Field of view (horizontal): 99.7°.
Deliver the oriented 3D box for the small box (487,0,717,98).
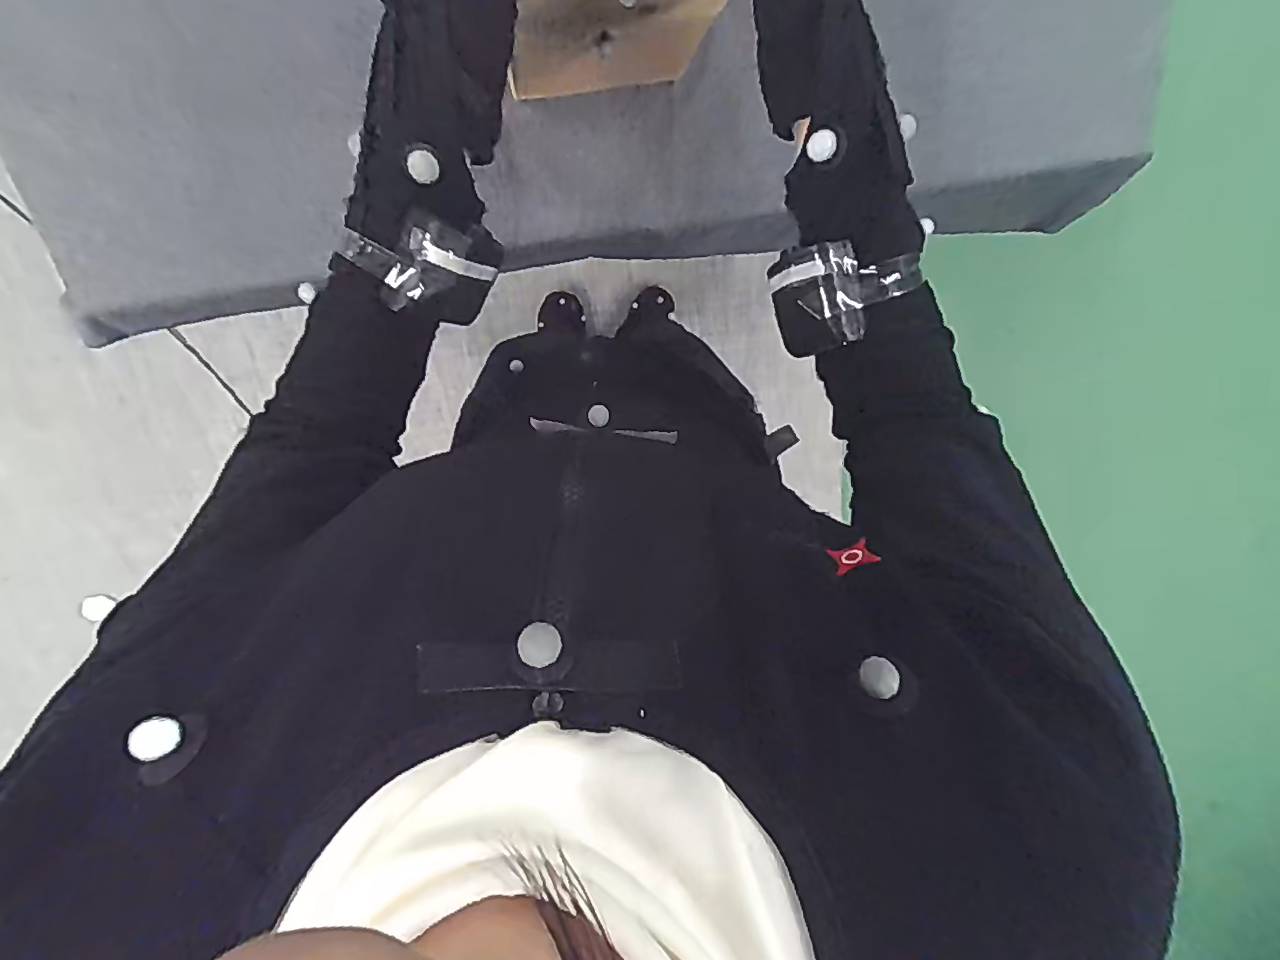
[{"bbox_3d":[-0.044,-0.446,0.451,0.179,0.176,0.168,-11,111,-5],"label":"small box"}]
